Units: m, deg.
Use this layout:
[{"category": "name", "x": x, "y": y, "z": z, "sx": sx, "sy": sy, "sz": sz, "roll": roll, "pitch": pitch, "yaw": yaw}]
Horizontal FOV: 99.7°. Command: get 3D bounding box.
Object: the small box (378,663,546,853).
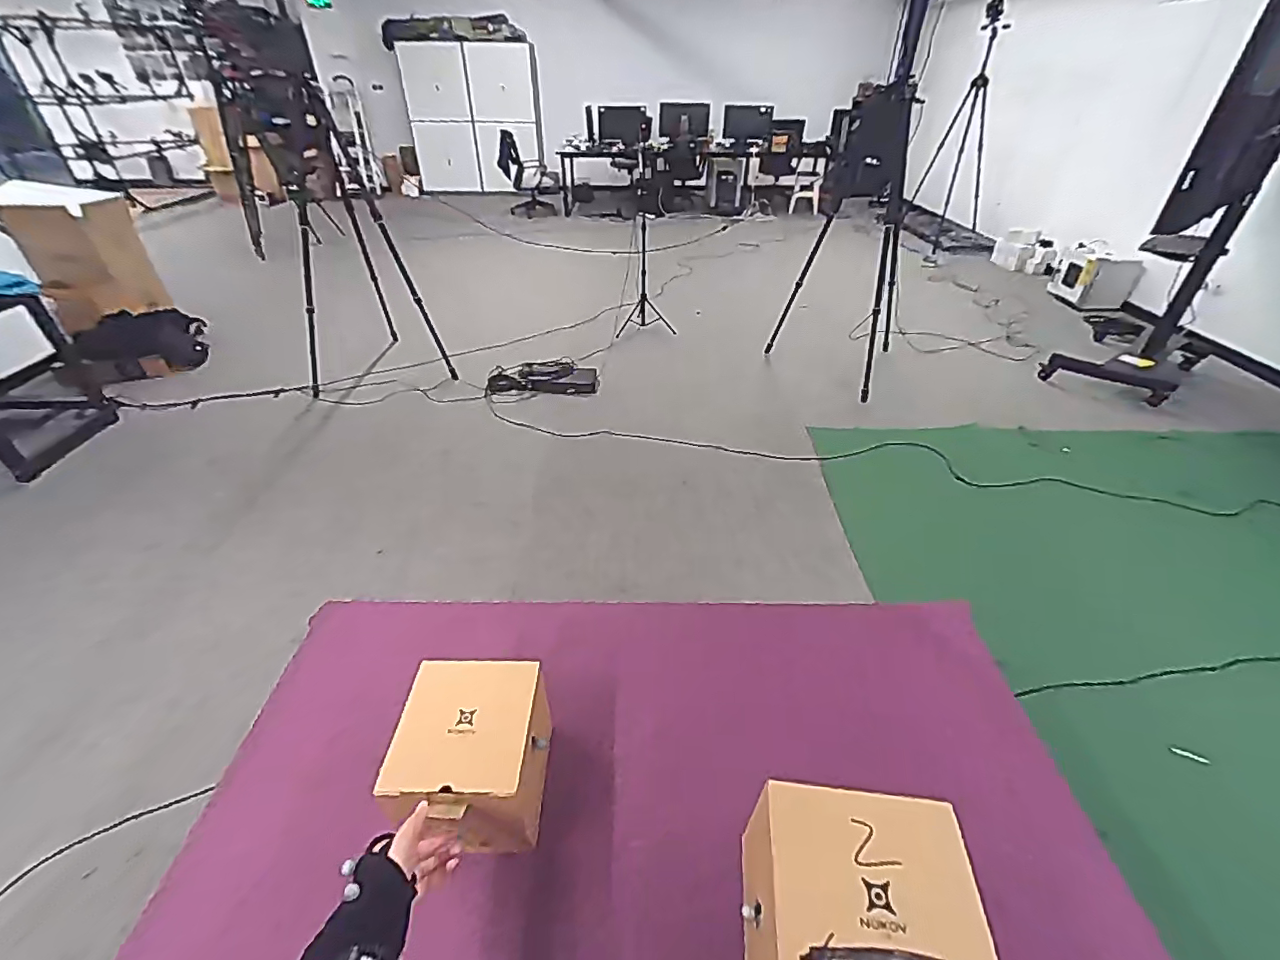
[{"category": "small box", "x": -0.225, "y": 0.376, "z": 0.740, "sx": 0.168, "sy": 0.176, "sz": 0.179, "roll": 1, "pitch": 37, "yaw": 0}]
